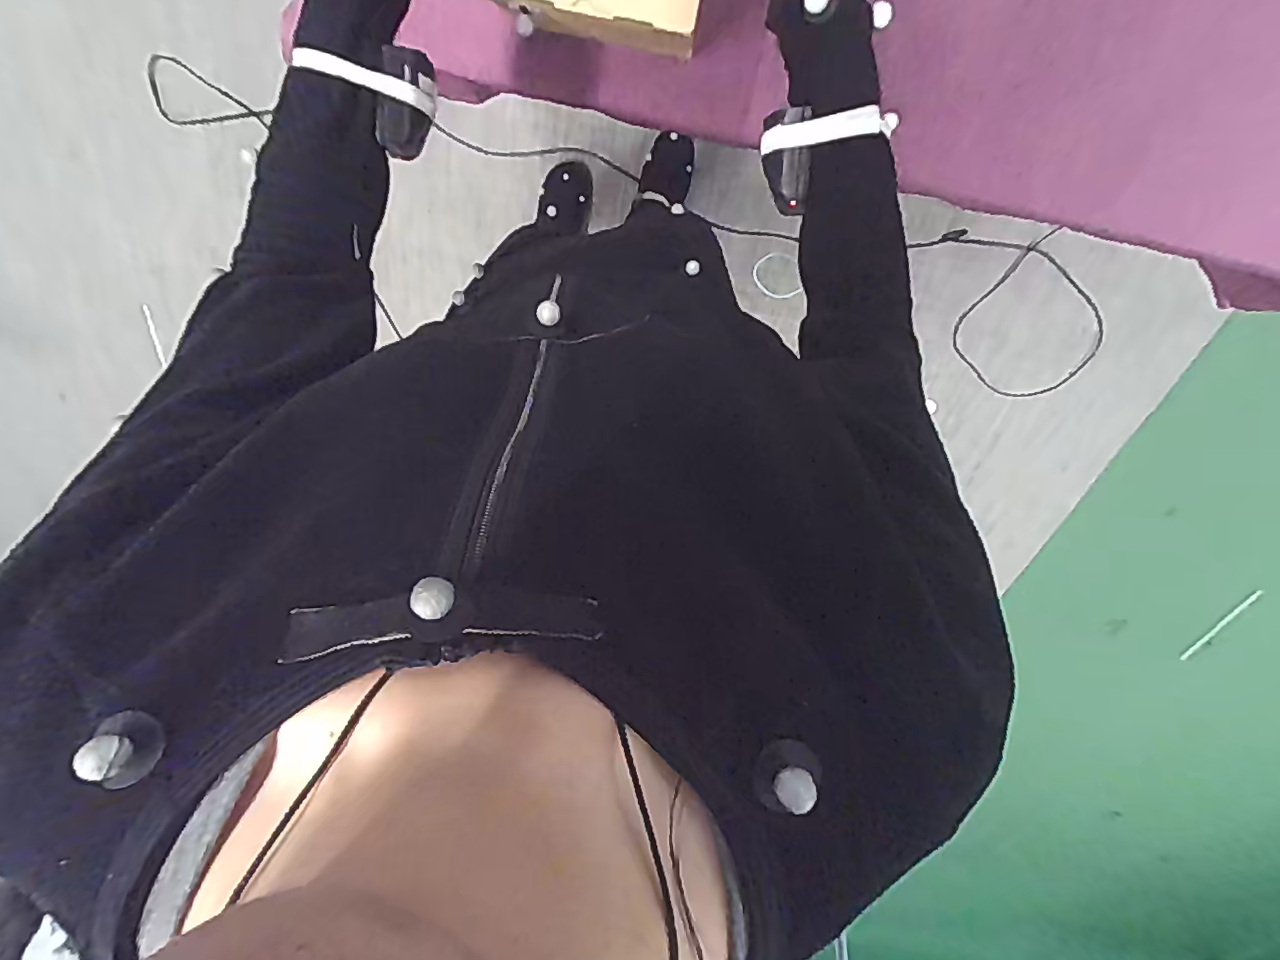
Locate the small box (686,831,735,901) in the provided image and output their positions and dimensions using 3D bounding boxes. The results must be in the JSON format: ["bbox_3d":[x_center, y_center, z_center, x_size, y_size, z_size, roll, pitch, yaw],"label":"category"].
[{"bbox_3d":[0.274,1.523,2.139,0.168,0.176,0.179,7,123,1],"label":"small box"}]

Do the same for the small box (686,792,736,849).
[{"bbox_3d":[0.294,1.448,2.282,0.179,0.176,0.168,9,123,-1],"label":"small box"}]

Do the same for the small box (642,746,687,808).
[{"bbox_3d":[0.111,1.325,2.414,0.168,0.176,0.179,12,123,-5],"label":"small box"}]
